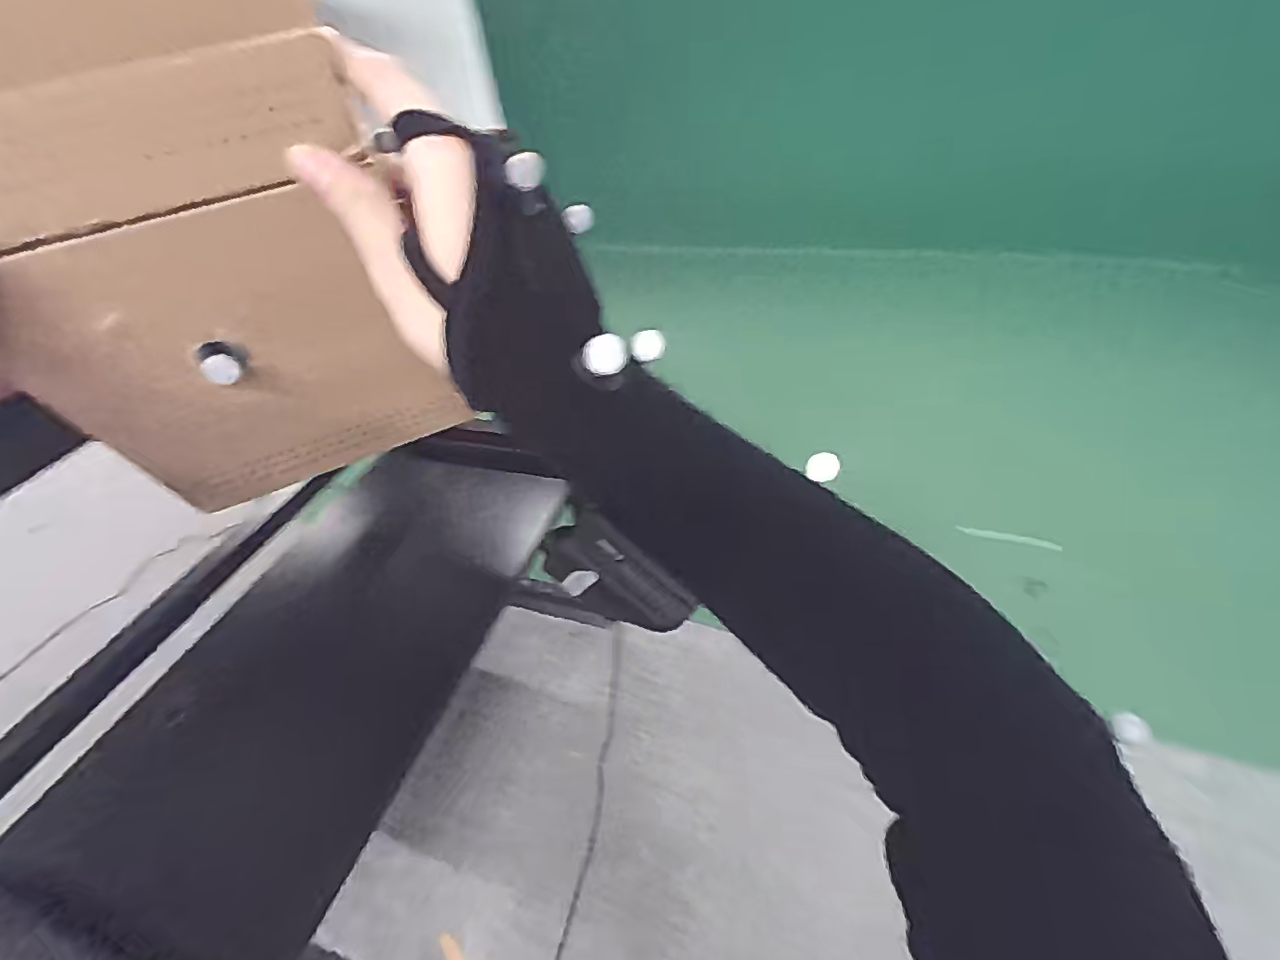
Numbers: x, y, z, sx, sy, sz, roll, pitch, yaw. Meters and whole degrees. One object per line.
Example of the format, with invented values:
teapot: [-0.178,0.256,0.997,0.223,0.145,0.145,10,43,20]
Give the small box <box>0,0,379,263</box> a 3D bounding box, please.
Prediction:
small box: [-0.220,-0.197,0.179,0.179,0.176,0.168,-23,60,-13]
